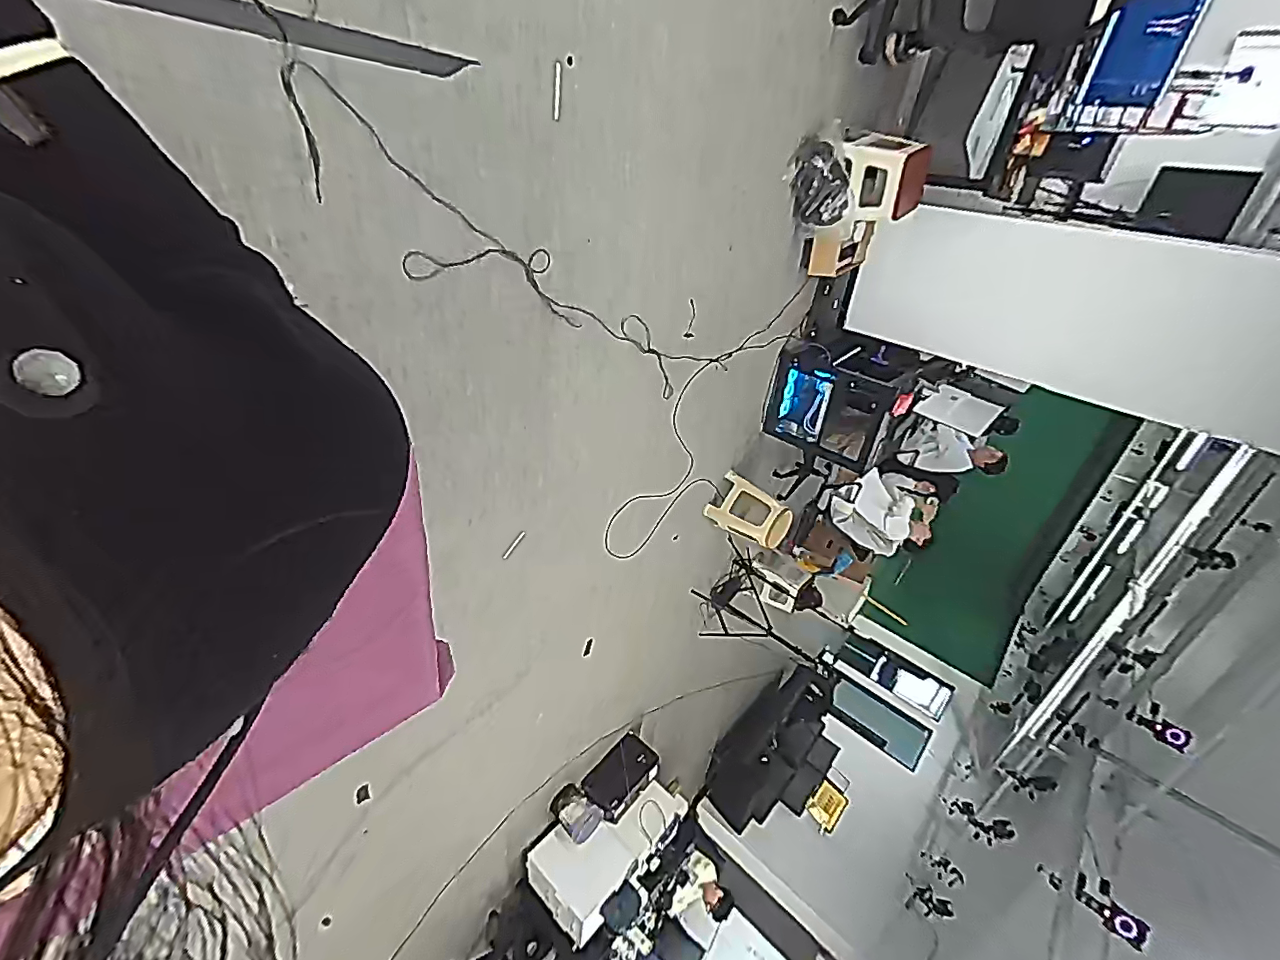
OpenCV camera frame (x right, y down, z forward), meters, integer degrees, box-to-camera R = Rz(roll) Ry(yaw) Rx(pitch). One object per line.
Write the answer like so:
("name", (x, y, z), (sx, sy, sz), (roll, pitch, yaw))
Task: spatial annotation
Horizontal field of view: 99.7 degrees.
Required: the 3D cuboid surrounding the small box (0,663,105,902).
("small box", (-0.712, 0.332, 0.564), (0.168, 0.176, 0.179), (-25, 133, -46))
